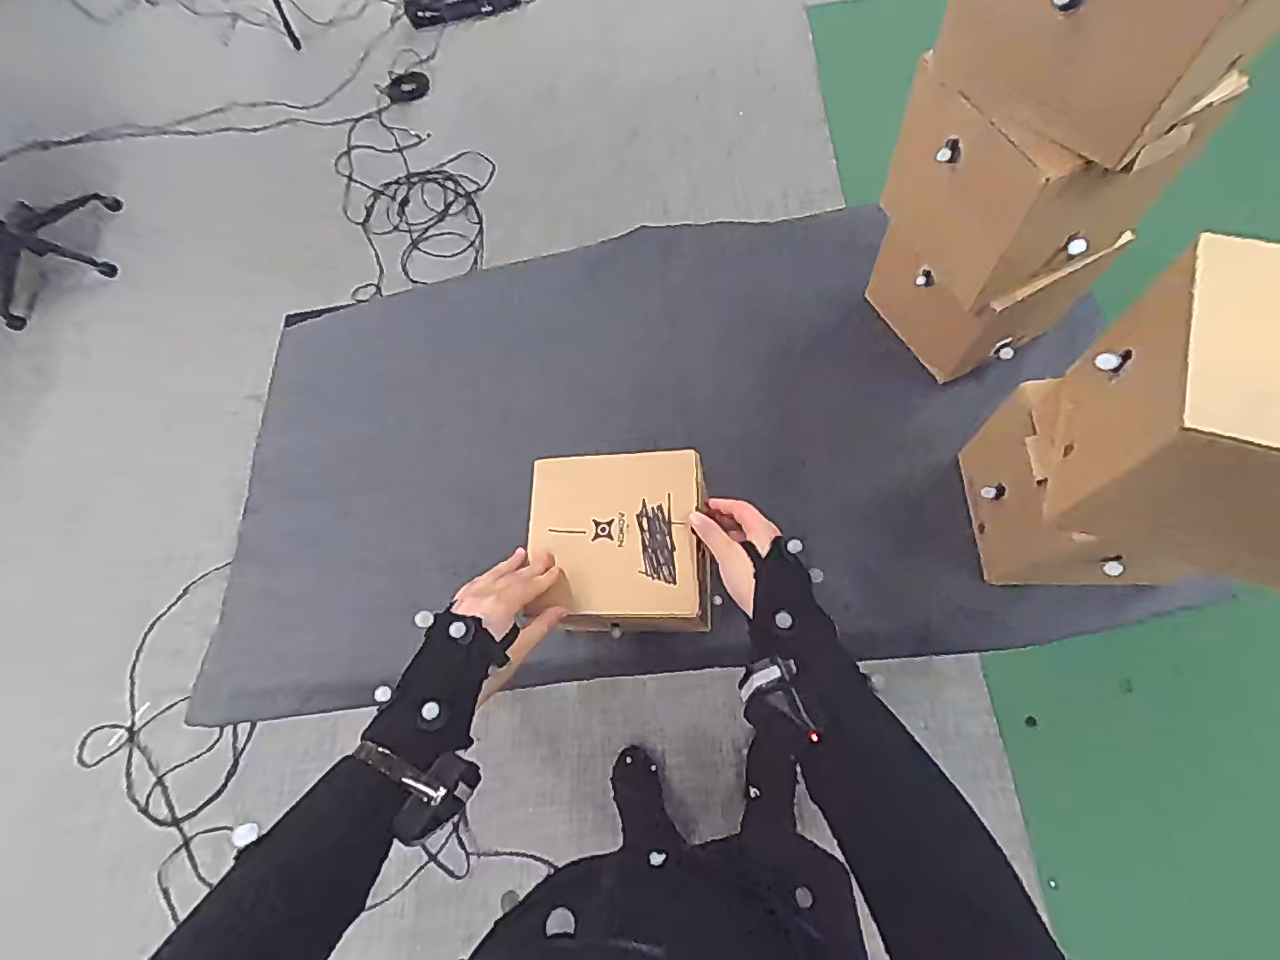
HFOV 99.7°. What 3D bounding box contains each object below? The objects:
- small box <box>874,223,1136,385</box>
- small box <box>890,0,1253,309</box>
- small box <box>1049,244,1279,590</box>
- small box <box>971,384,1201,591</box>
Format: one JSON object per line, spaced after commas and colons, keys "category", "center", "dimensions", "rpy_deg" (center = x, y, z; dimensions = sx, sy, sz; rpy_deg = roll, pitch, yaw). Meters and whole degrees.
{"category": "small box", "center": [0.417, -0.250, 0.661], "dimensions": [0.168, 0.176, 0.179], "rpy_deg": [-29, 69, 1]}
{"category": "small box", "center": [0.367, -0.301, 0.510], "dimensions": [0.168, 0.176, 0.179], "rpy_deg": [-25, 68, 3]}
{"category": "small box", "center": [0.443, -0.035, 0.395], "dimensions": [0.179, 0.176, 0.168], "rpy_deg": [19, 71, 16]}
{"category": "small box", "center": [0.465, 0.015, 0.550], "dimensions": [0.179, 0.176, 0.168], "rpy_deg": [-2, 66, 10]}
